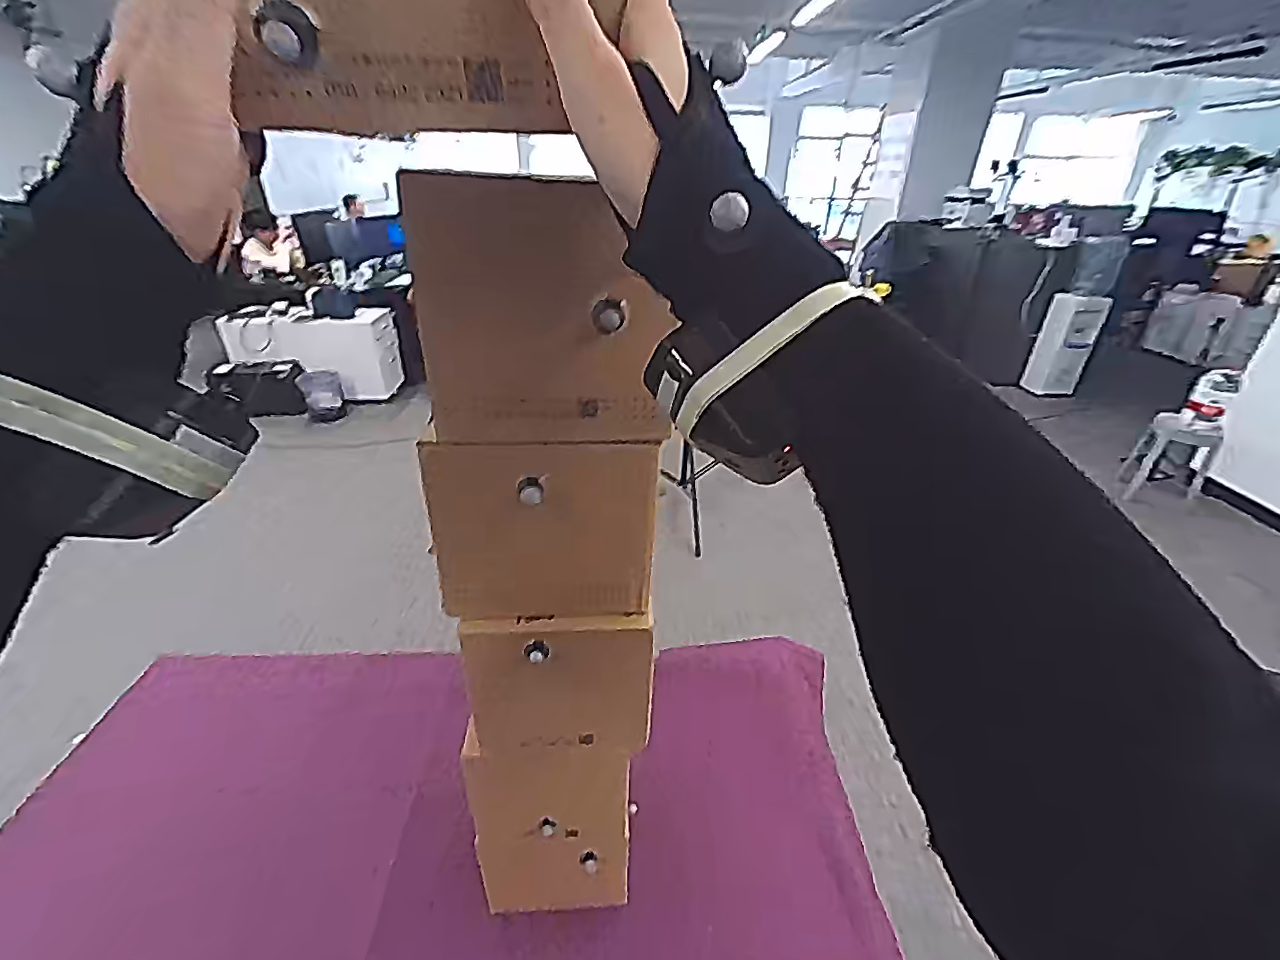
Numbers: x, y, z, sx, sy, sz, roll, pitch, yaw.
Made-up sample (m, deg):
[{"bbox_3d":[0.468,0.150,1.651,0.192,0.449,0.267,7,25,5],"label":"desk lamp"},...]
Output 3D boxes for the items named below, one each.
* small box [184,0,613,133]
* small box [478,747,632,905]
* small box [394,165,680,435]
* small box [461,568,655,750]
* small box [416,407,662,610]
[{"bbox_3d":[-0.103,-0.265,0.244,0.168,0.176,0.179,-5,40,-9],"label":"small box"},{"bbox_3d":[-0.103,0.434,0.724,0.179,0.176,0.168,-1,29,-3],"label":"small box"},{"bbox_3d":[-0.066,-0.141,0.415,0.168,0.176,0.179,-1,29,-6],"label":"small box"},{"bbox_3d":[-0.076,0.150,0.563,0.168,0.176,0.179,-1,29,-4],"label":"small box"},{"bbox_3d":[-0.079,0.002,0.492,0.179,0.176,0.168,-1,30,-4],"label":"small box"}]
